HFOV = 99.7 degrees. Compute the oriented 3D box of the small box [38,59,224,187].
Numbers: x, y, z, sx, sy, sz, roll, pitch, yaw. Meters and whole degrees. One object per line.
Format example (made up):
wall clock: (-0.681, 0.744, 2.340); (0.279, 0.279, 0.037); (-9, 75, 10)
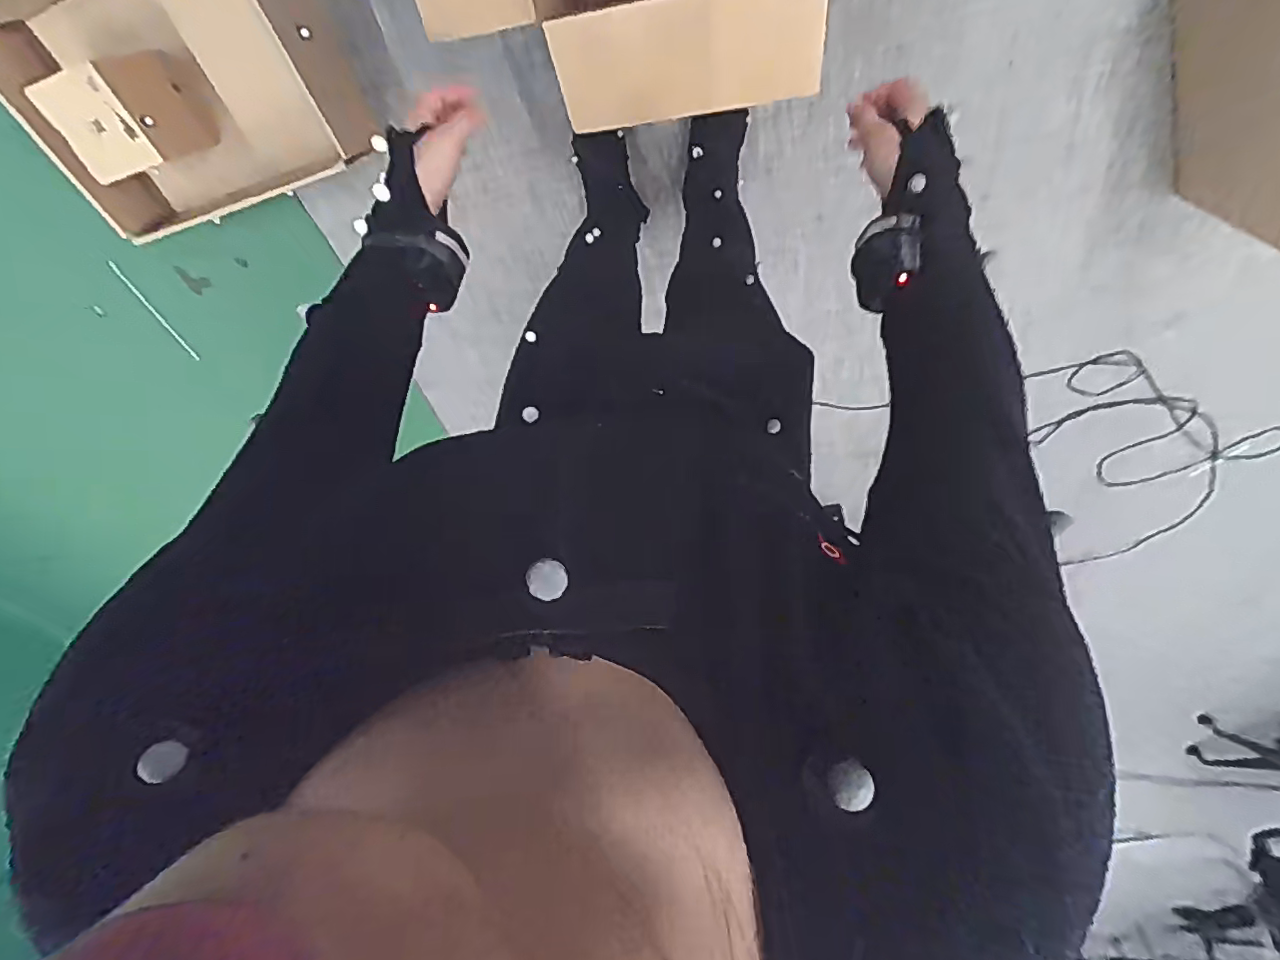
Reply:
small box: (-1.001, -0.715, 1.083); (0.179, 0.176, 0.168); (-8, 131, 15)
